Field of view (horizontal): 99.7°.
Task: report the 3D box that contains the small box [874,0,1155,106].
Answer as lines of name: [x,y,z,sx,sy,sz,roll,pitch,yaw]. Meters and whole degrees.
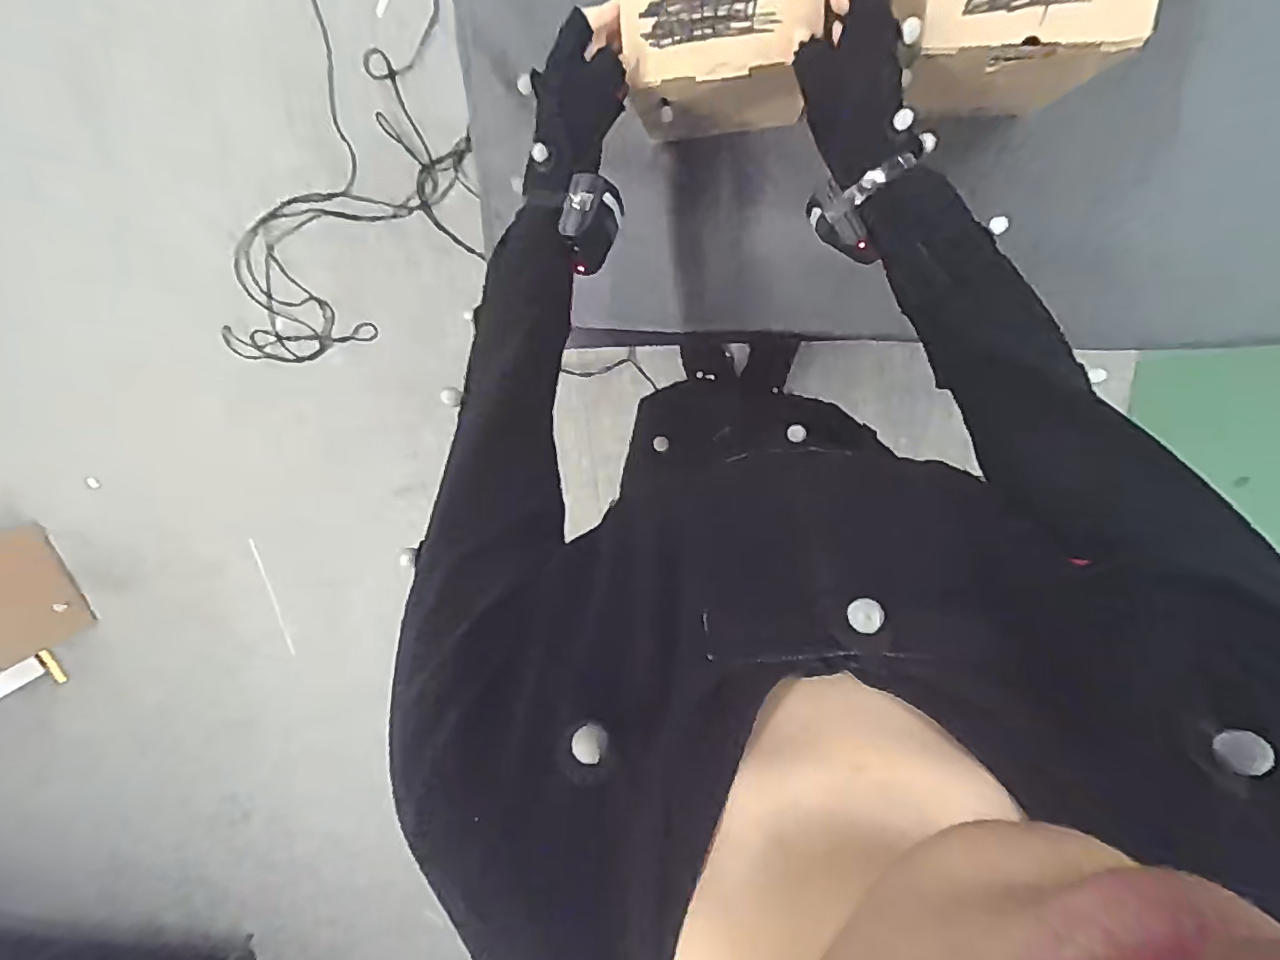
small box: [0.315,-0.444,0.466,0.168,0.176,0.179,4,109,7]
